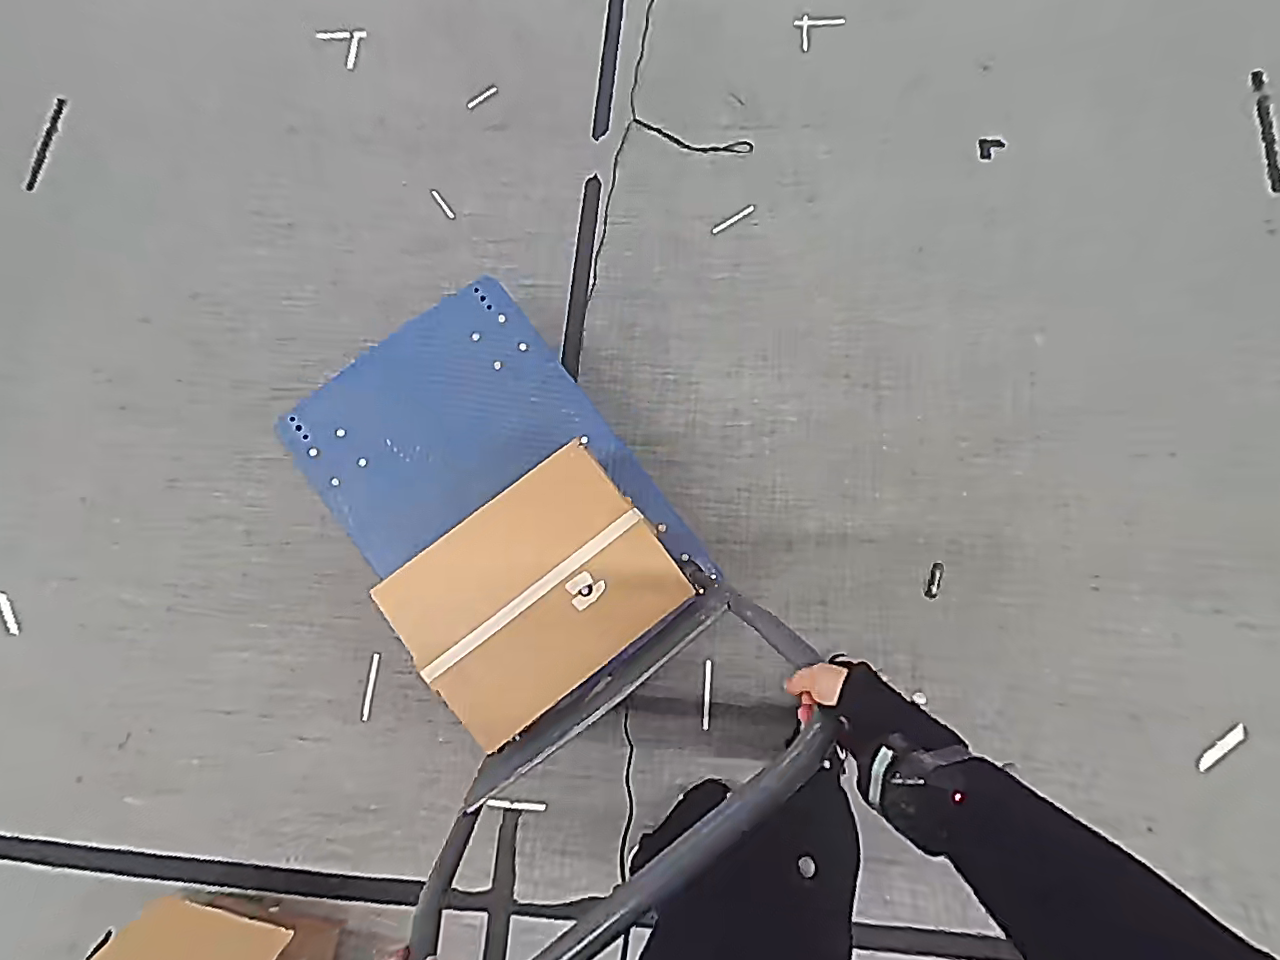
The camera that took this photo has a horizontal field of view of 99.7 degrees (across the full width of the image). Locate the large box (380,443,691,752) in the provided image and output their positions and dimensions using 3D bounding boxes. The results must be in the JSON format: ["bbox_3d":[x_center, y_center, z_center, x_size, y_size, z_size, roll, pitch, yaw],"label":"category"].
[{"bbox_3d":[-0.169,0.196,0.999,0.408,0.320,0.320,-38,88,-6],"label":"large box"}]
